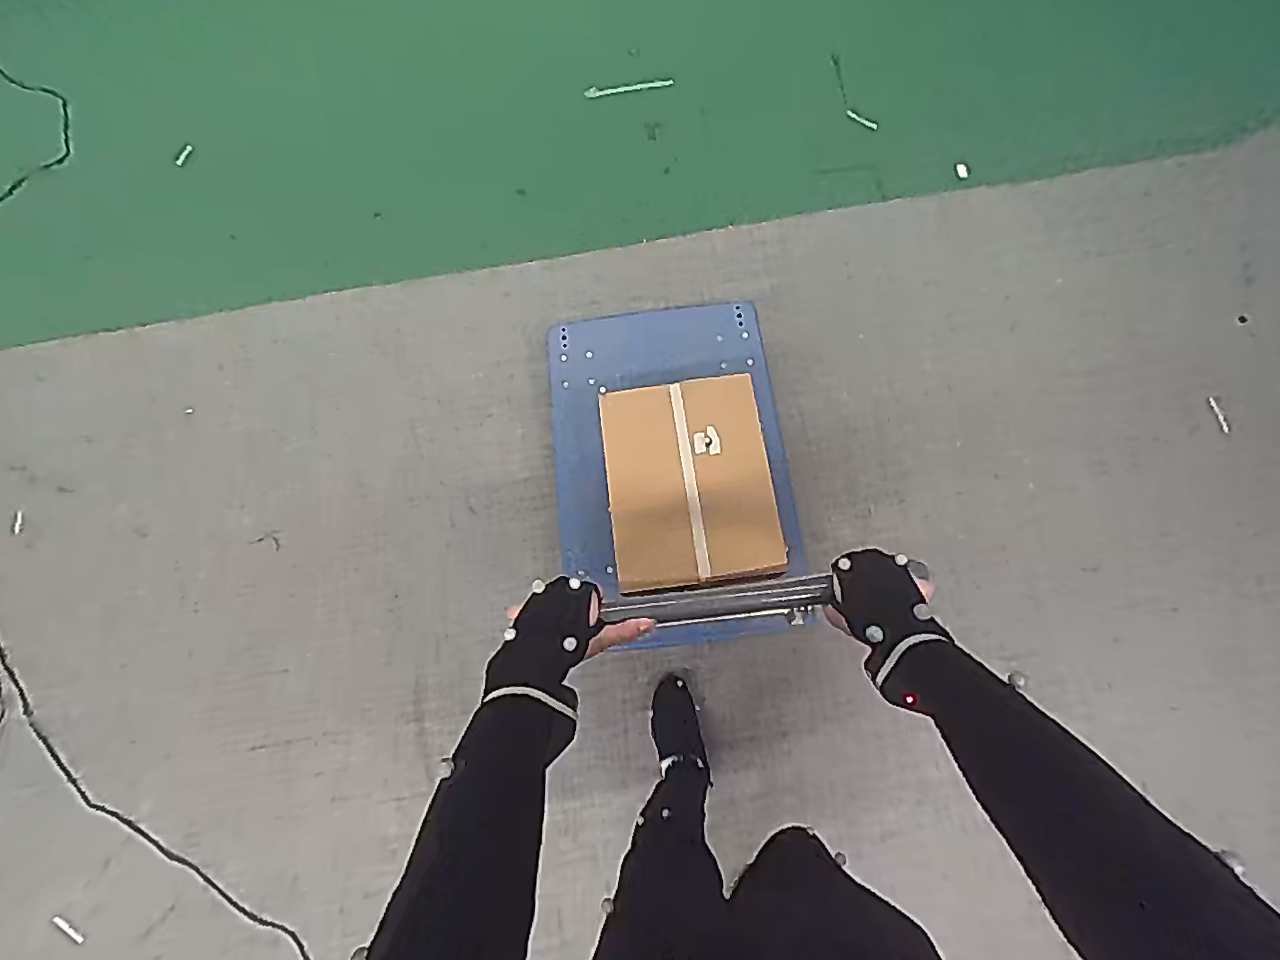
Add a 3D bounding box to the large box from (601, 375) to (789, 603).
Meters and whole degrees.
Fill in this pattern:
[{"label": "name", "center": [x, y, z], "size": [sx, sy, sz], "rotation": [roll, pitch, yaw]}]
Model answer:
[{"label": "large box", "center": [0.106, 0.038, 1.186], "size": [0.320, 0.320, 0.408], "rotation": [-7, 73, 1]}]
